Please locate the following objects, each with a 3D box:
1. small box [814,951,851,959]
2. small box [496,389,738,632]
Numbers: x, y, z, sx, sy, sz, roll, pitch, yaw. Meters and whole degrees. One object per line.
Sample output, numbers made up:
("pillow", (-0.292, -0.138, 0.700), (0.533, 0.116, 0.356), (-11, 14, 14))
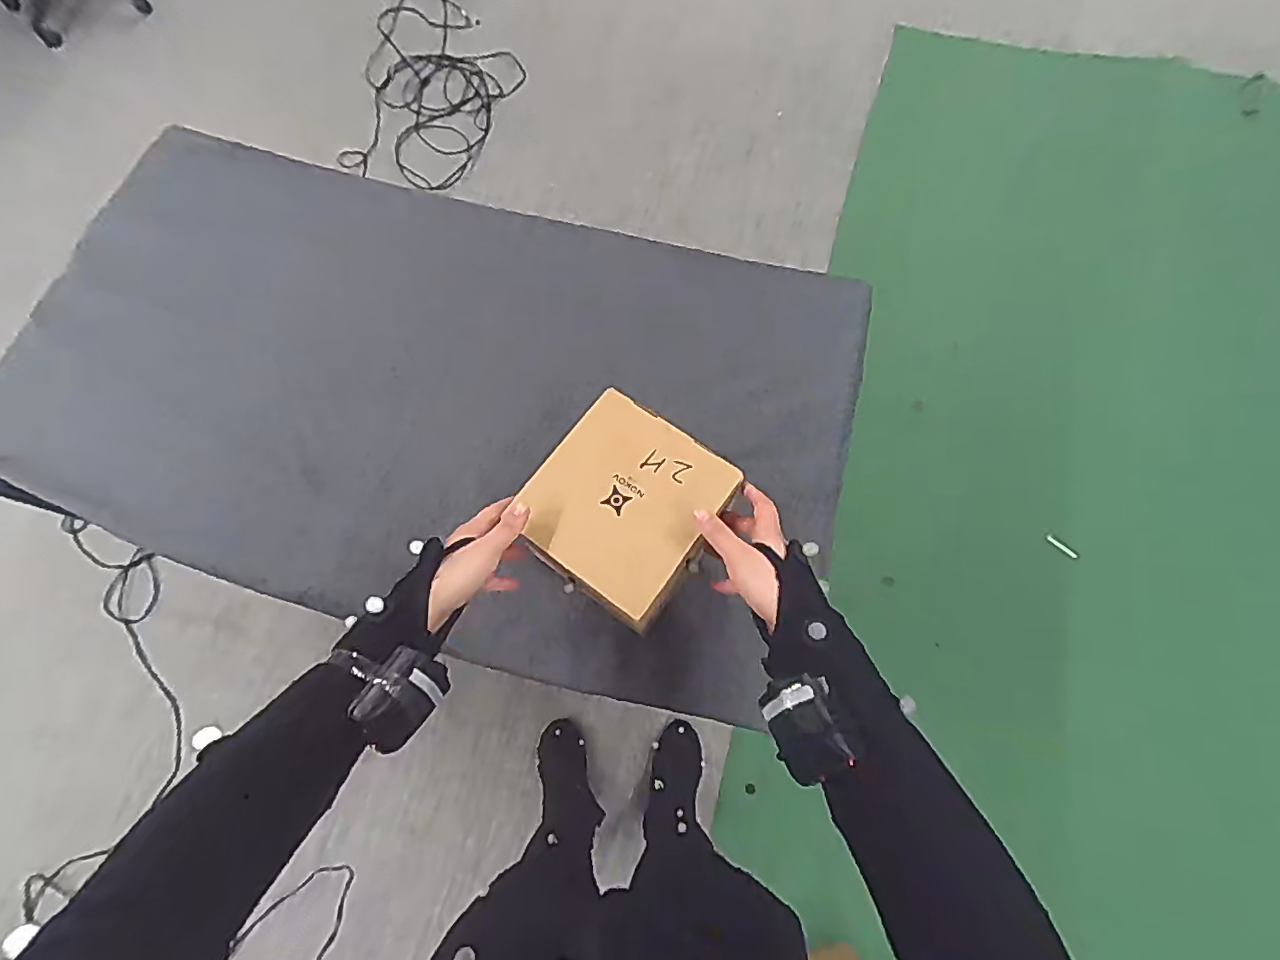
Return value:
("small box", (0.358, 1.032, 1.008), (0.179, 0.176, 0.168), (-16, 72, -3))
("small box", (-0.018, 0.044, 0.581), (0.168, 0.176, 0.179), (35, 74, 13))
